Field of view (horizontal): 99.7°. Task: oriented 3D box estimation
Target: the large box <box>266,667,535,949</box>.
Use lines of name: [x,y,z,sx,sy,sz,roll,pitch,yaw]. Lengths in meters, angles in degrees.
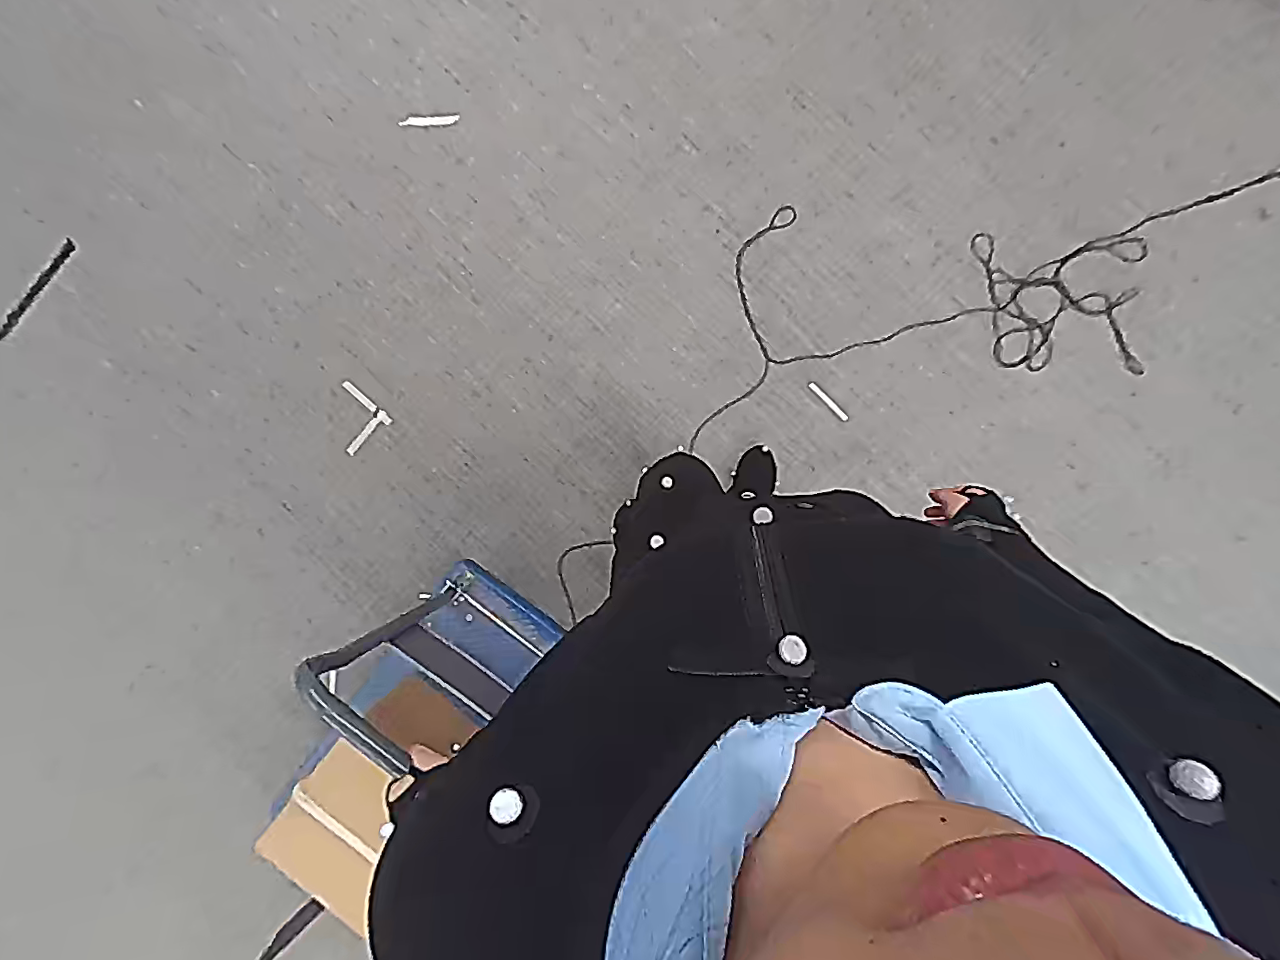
large box: [-0.515,0.716,1.244,0.408,0.320,0.320,39,94,0]
